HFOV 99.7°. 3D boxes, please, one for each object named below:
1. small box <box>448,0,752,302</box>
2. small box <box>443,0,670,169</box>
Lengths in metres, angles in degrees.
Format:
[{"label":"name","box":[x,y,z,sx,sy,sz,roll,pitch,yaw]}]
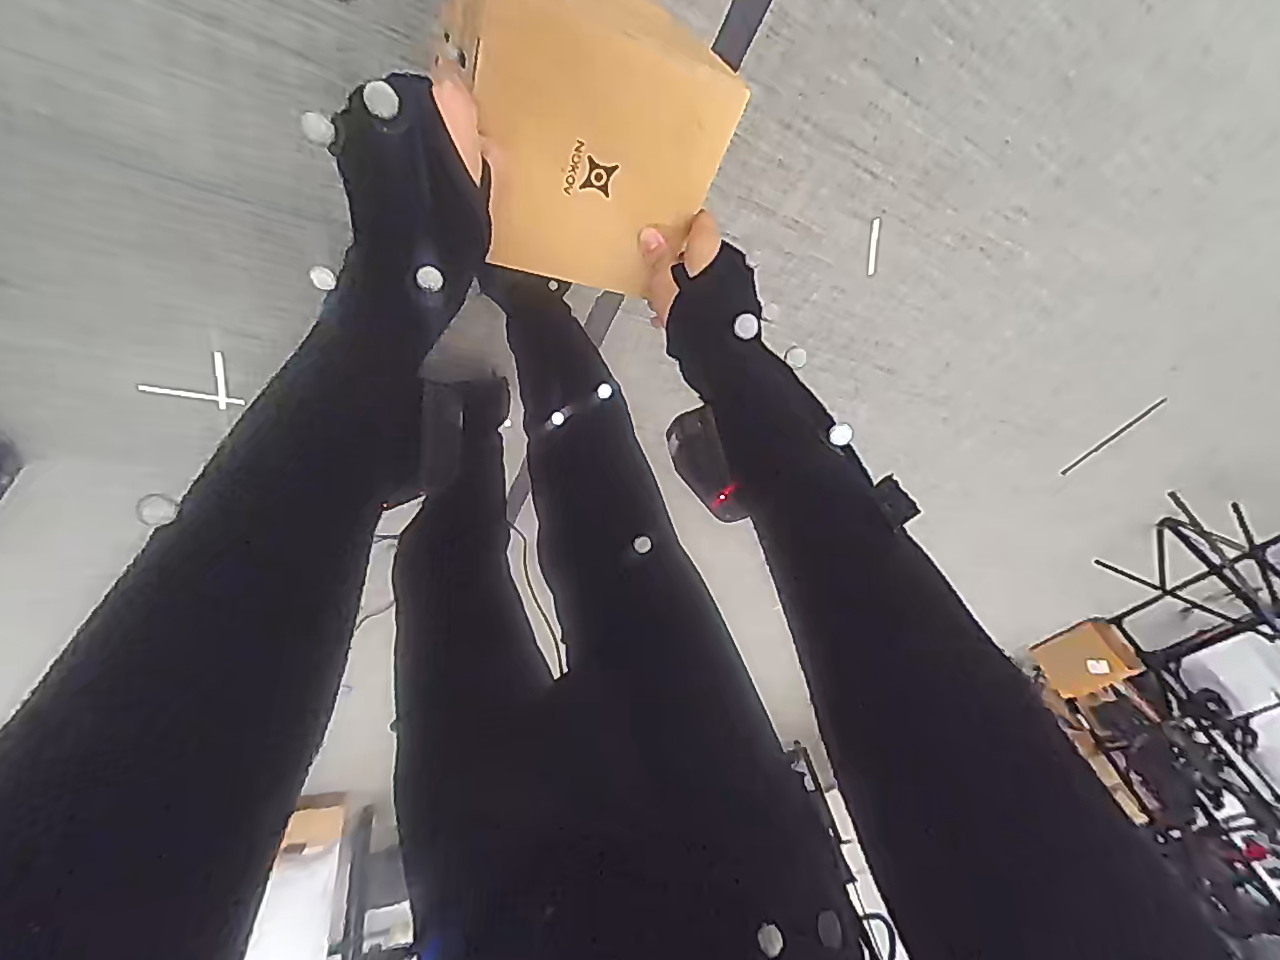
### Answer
[{"label":"small box","box":[-0.048,-0.272,0.423,0.179,0.176,0.168,5,138,-24]},{"label":"small box","box":[-0.095,-0.395,0.519,0.168,0.176,0.179,4,138,-24]}]
